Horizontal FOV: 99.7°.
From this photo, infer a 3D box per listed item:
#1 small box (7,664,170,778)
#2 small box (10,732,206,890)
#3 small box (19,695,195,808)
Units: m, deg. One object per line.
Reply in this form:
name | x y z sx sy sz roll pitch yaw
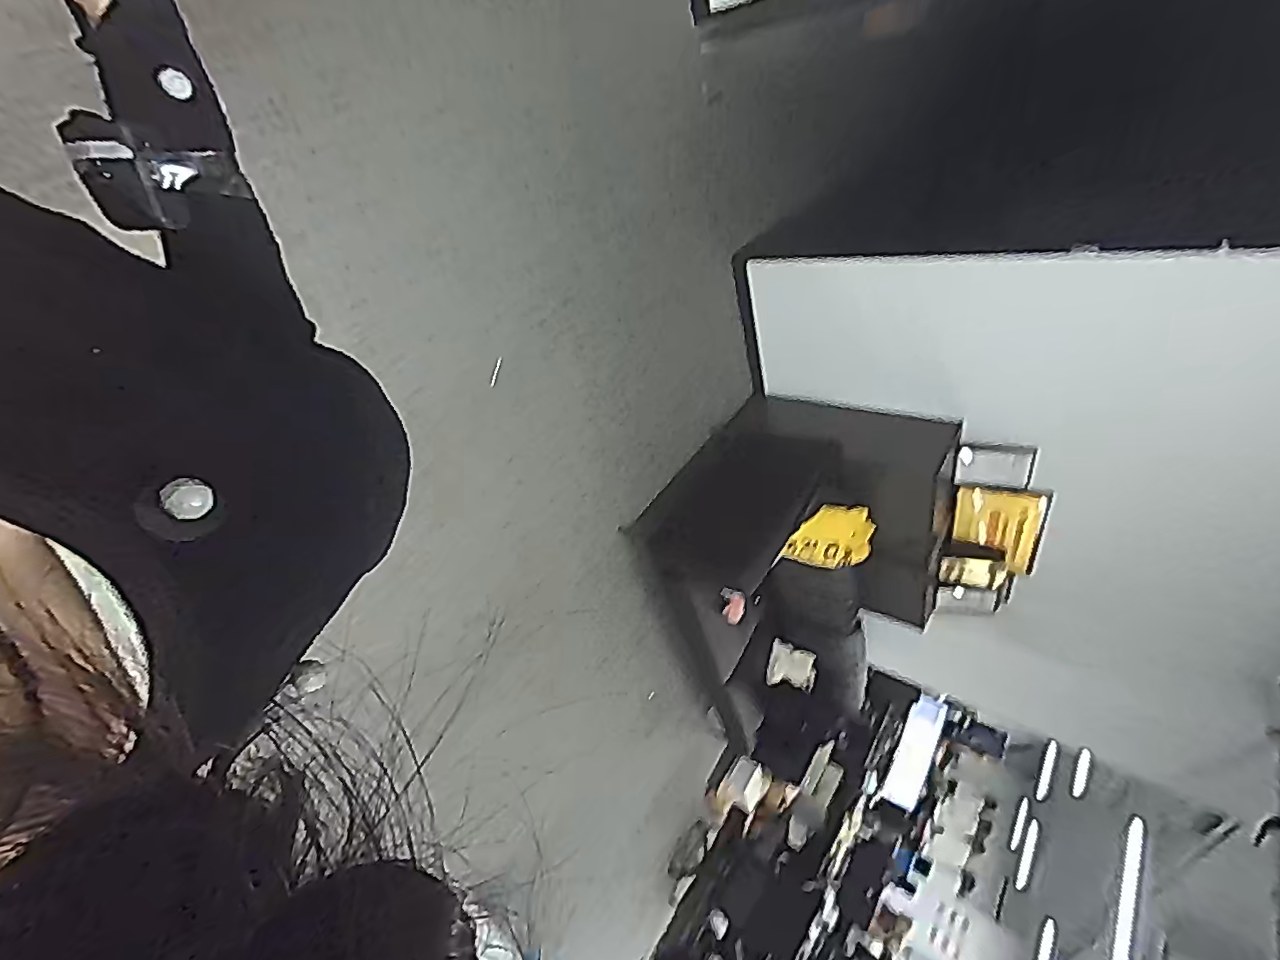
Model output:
small box | -1.157 0.523 1.135 0.179 0.176 0.168 -47 135 -30
small box | -0.907 0.580 0.931 0.179 0.176 0.168 -49 136 -29
small box | -1.025 0.553 1.041 0.179 0.176 0.168 -48 134 -30
